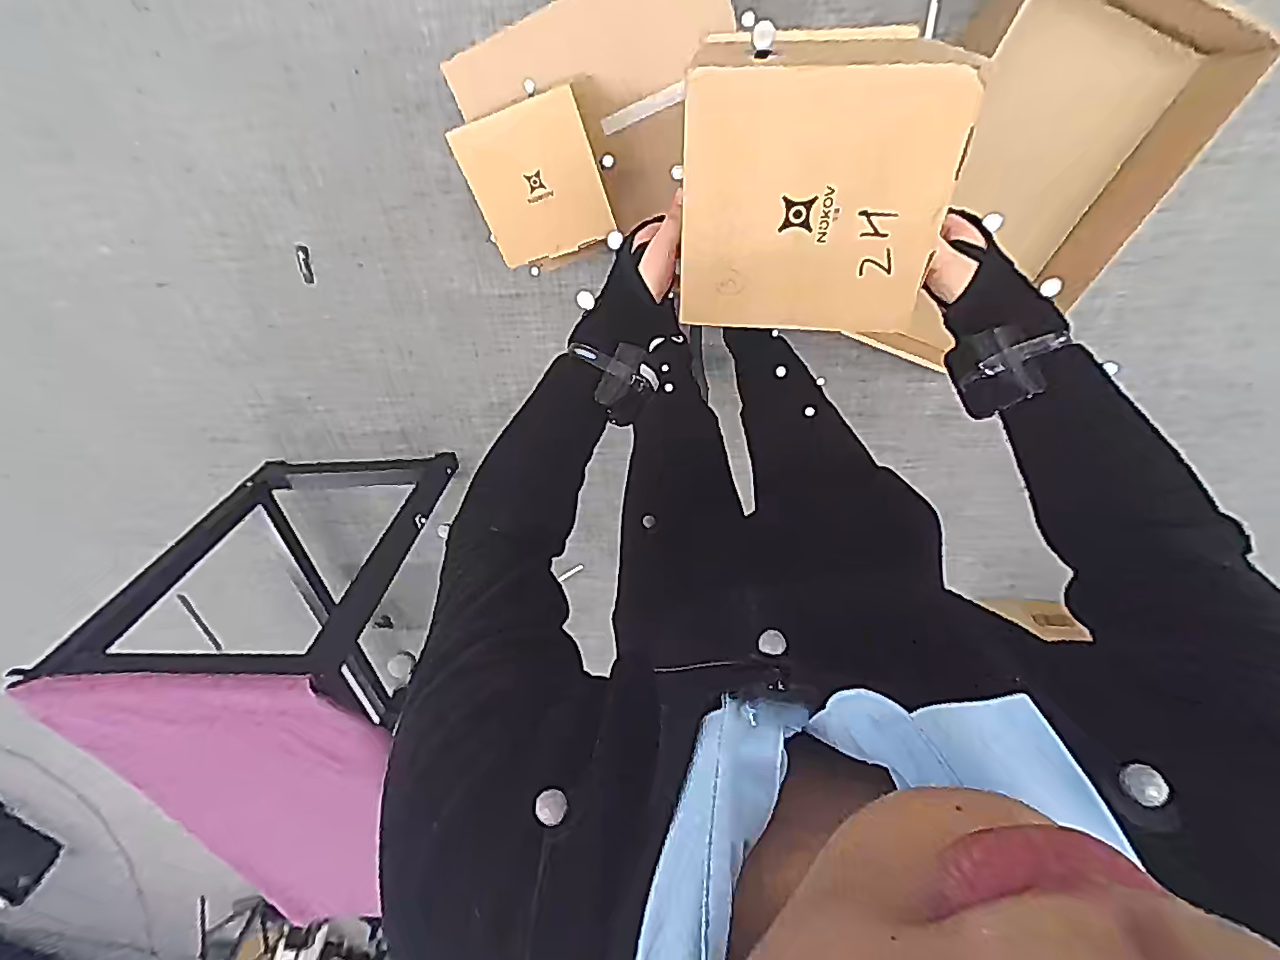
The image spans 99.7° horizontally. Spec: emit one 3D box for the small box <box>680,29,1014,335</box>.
[{"bbox_3d":[0.128,-0.229,0.411,0.179,0.176,0.168,5,133,6],"label":"small box"}]
